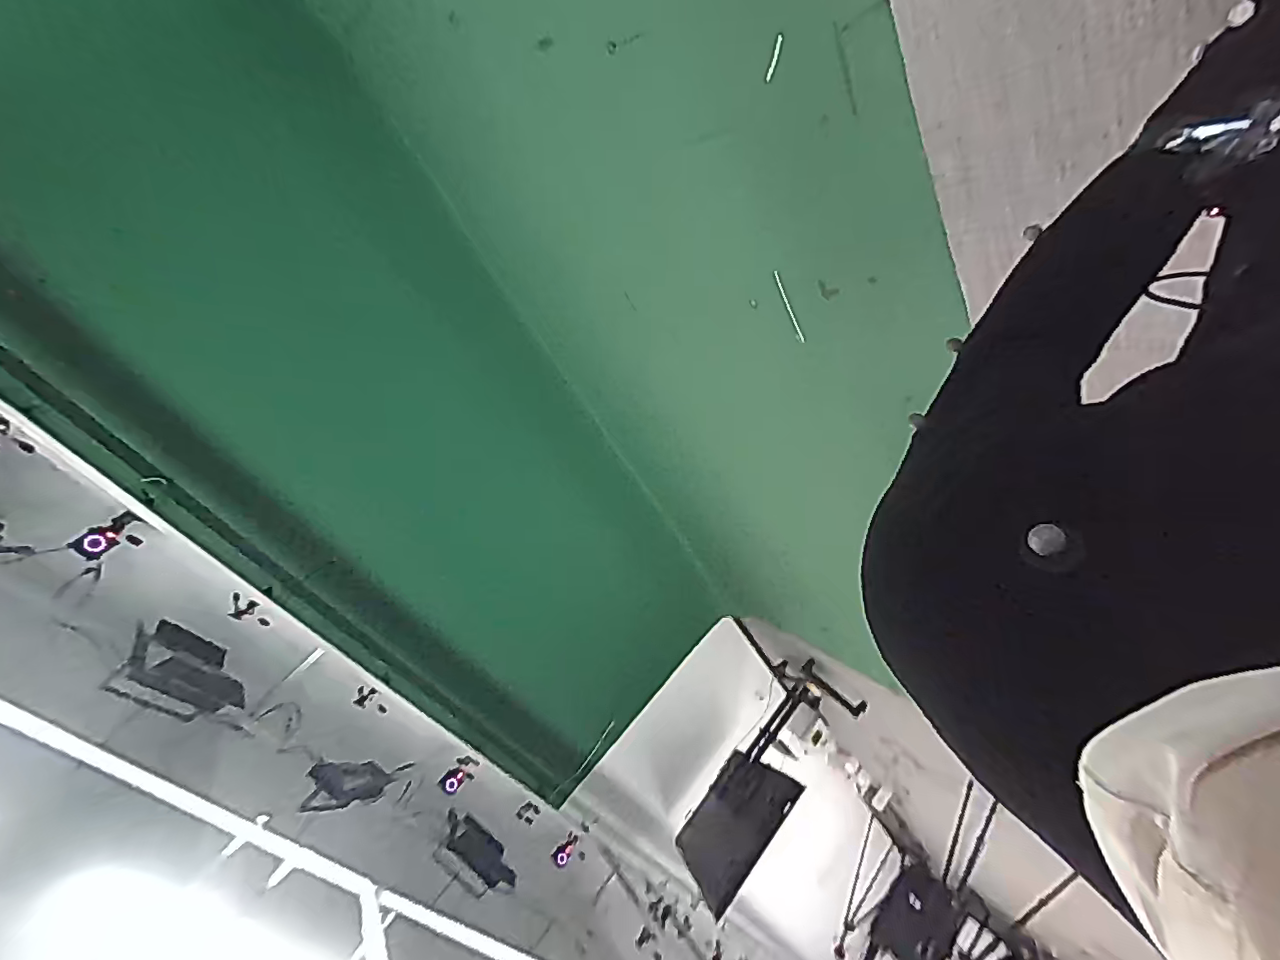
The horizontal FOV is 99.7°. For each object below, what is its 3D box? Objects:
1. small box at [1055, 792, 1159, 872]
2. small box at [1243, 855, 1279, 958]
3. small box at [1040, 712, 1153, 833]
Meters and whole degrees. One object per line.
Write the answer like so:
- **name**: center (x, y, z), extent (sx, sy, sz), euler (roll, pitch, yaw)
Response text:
- **small box**: center (1.264, 0.896, 1.462), extent (0.168, 0.176, 0.179), euler (17, 148, 56)
- **small box**: center (1.455, 0.953, 1.163), extent (0.168, 0.176, 0.179), euler (54, 160, -27)
- **small box**: center (1.137, 0.717, 1.341), extent (0.179, 0.176, 0.168), euler (18, 149, 54)
